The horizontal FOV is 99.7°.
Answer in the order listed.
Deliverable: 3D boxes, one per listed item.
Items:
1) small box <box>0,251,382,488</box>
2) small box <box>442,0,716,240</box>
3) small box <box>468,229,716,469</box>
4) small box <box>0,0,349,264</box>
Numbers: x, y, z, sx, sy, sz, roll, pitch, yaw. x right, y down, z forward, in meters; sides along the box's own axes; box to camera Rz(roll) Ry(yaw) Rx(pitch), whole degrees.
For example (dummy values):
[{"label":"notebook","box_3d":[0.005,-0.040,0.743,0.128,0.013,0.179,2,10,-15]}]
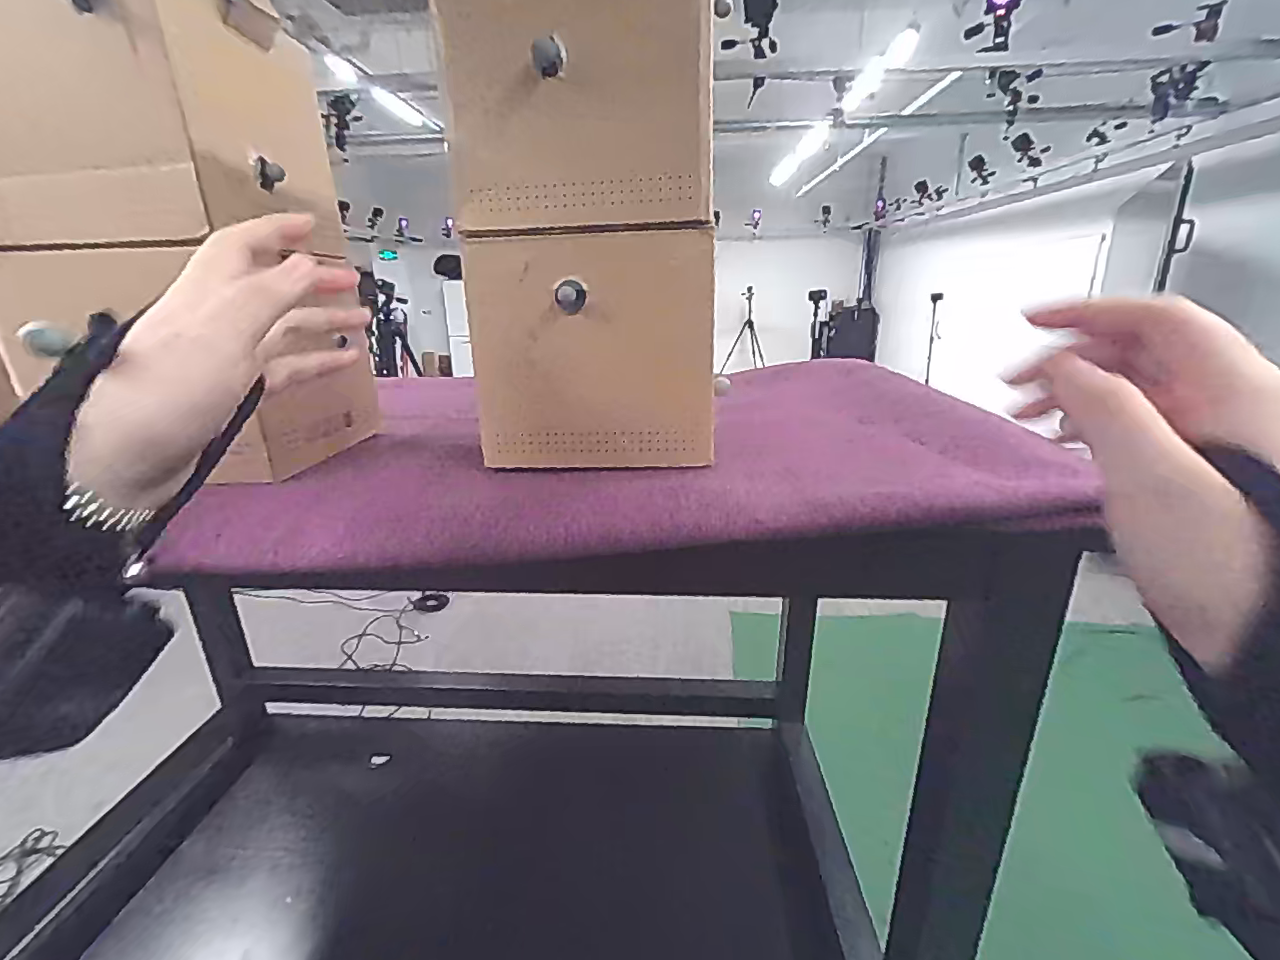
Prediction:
[{"label":"small box","box_3d":[-0.349,-0.096,0.461,0.179,0.176,0.168,-1,17,3]},{"label":"small box","box_3d":[-0.032,-0.265,0.422,0.179,0.176,0.168,-1,16,6]},{"label":"small box","box_3d":[-0.026,-0.107,0.466,0.179,0.176,0.168,0,16,5]},{"label":"small box","box_3d":[-0.358,-0.252,0.412,0.179,0.176,0.168,-1,18,1]}]
